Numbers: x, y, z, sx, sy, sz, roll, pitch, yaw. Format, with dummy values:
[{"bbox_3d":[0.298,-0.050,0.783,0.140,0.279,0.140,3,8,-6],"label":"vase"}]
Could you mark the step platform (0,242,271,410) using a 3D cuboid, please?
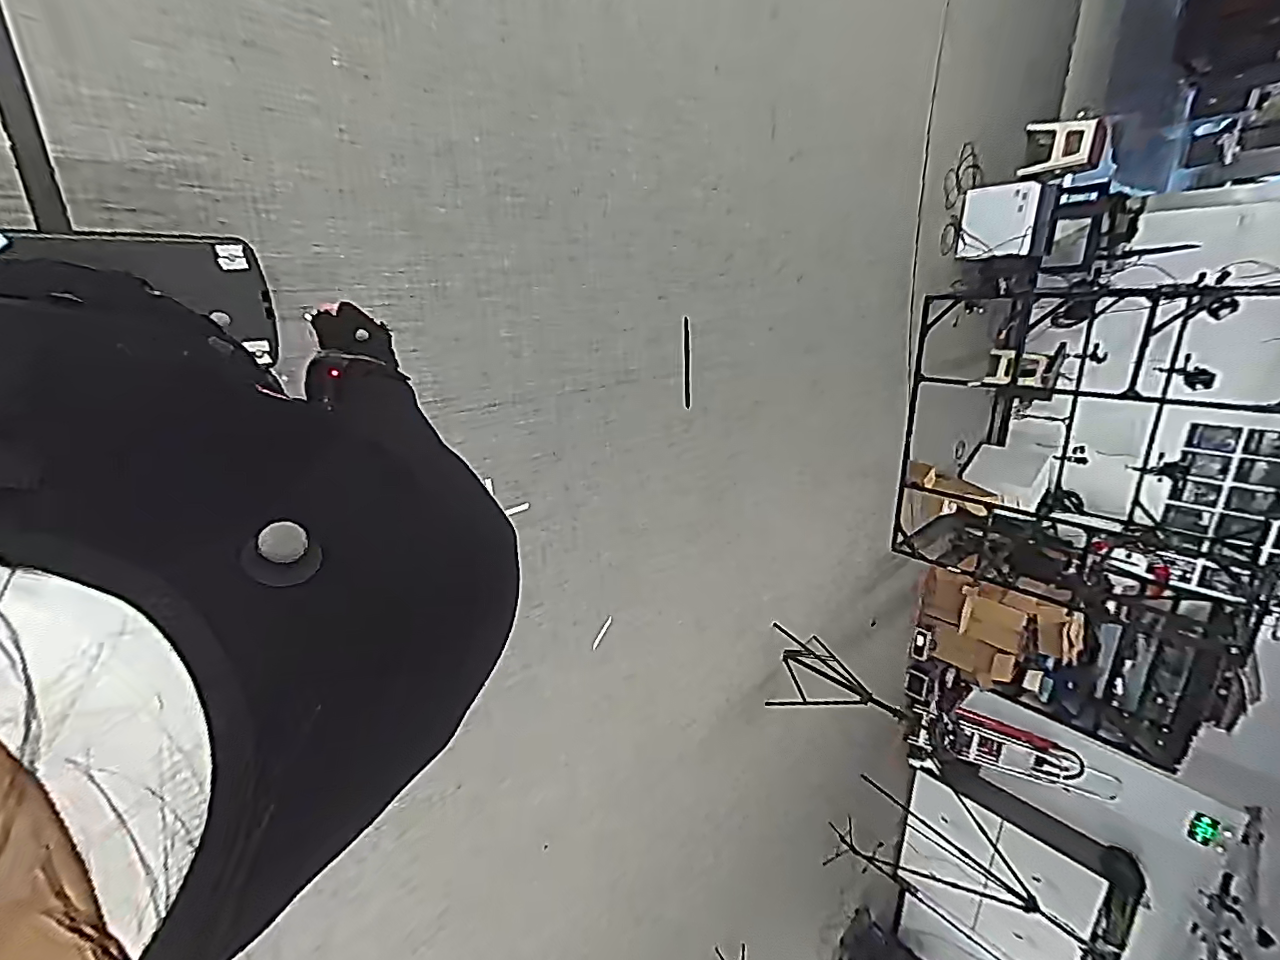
[{"bbox_3d":[-1.127,-0.301,1.042,0.684,0.204,0.286,-19,117,-39],"label":"step platform"}]
